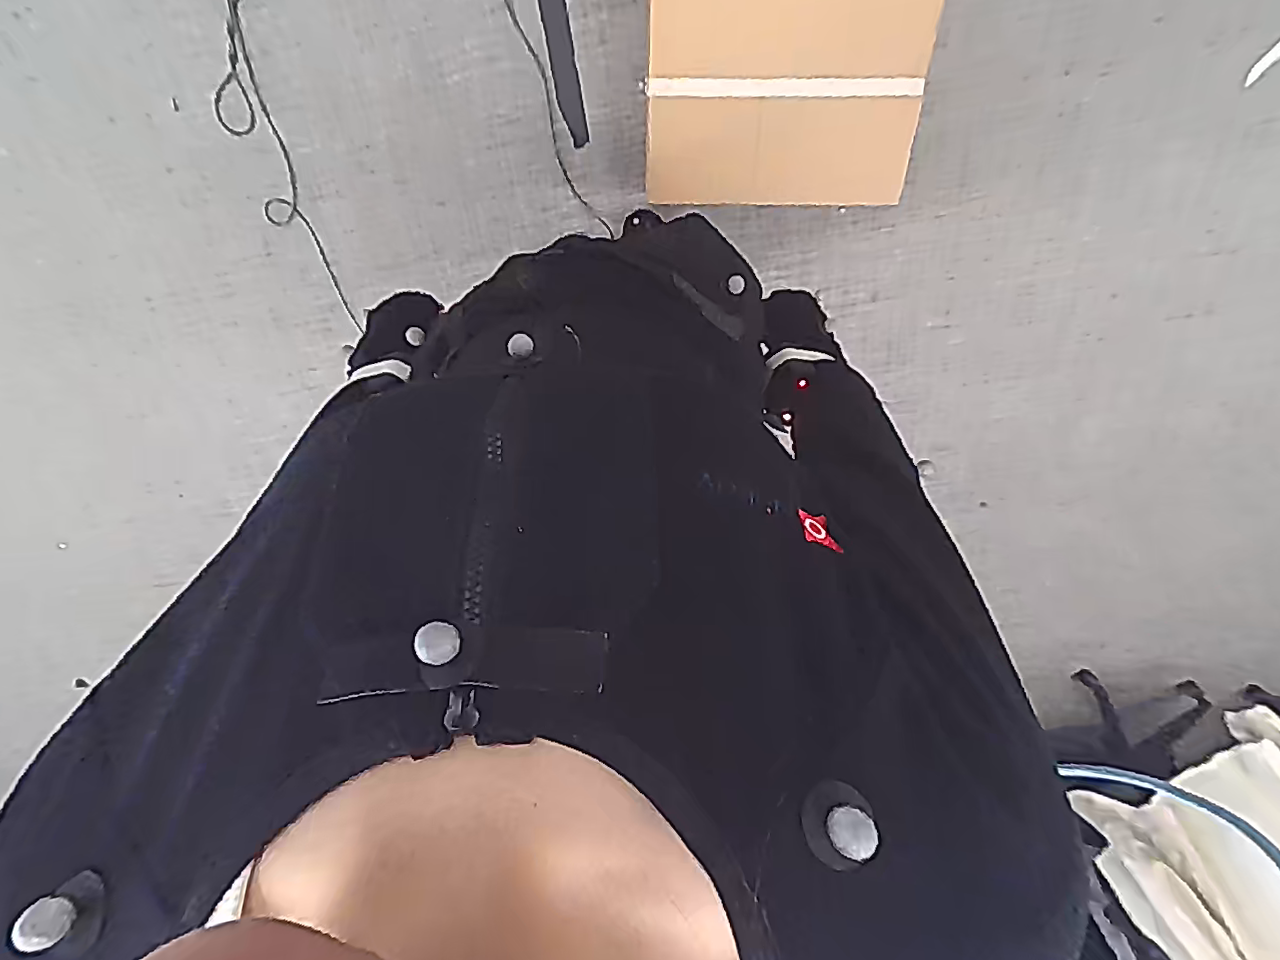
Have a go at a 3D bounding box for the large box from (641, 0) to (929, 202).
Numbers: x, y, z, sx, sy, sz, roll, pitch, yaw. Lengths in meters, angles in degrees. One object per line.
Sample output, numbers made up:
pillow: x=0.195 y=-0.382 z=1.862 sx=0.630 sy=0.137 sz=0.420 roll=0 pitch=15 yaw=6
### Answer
large box: x=0.205 y=-0.664 z=0.923 sx=0.408 sy=0.320 sz=0.320 roll=1 pitch=121 yaw=0
